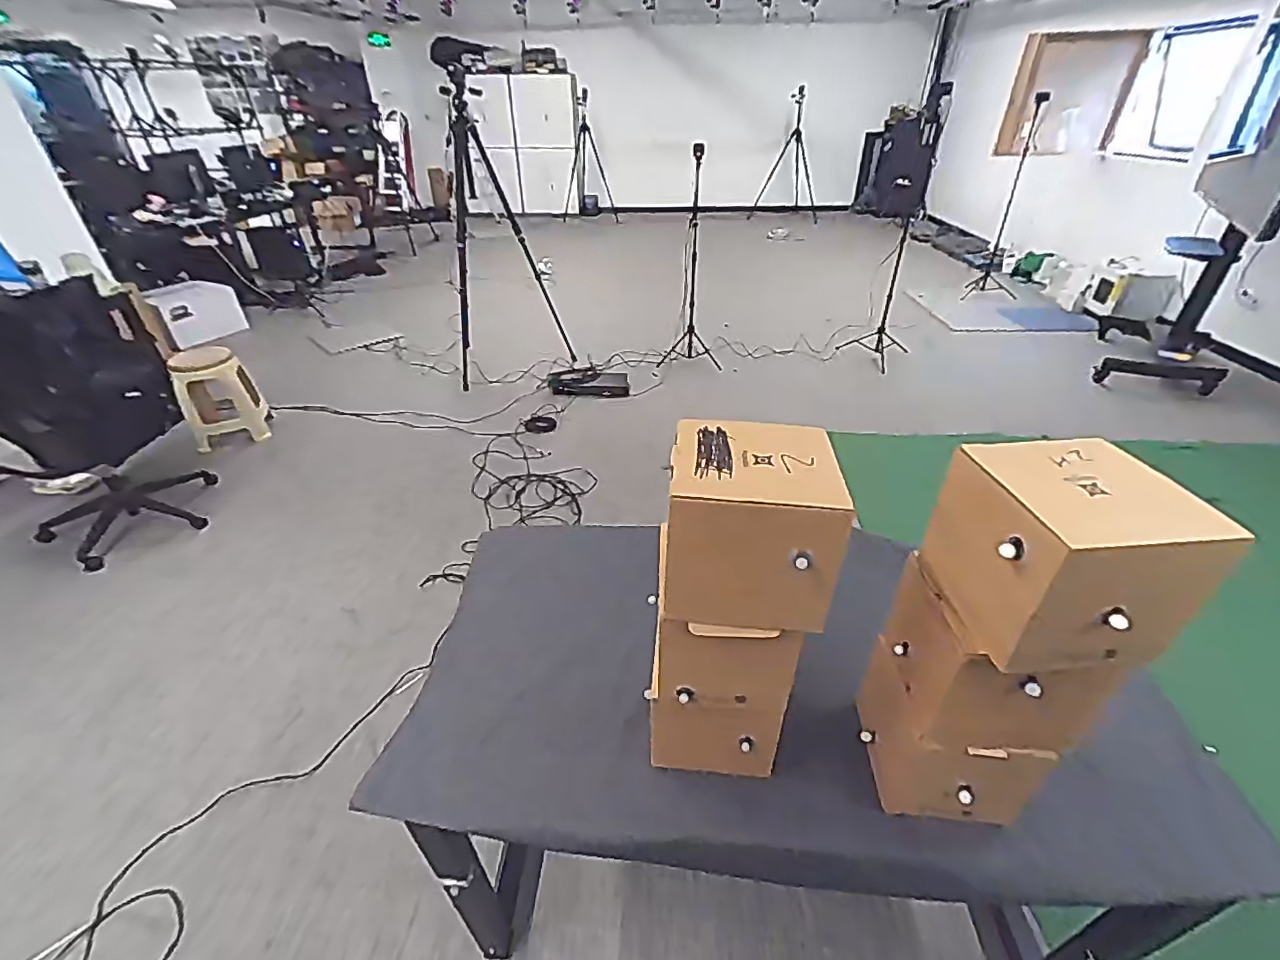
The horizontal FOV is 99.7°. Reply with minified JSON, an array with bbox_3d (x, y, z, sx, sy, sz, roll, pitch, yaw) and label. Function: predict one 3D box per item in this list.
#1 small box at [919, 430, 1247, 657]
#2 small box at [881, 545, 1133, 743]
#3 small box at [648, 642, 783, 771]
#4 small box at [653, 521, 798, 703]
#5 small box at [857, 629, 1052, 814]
[{"bbox_3d":[0.425,0.067,0.562,0.168,0.176,0.179,-4,34,-3],"label":"small box"},{"bbox_3d":[0.422,0.199,0.662,0.179,0.176,0.168,1,34,5],"label":"small box"},{"bbox_3d":[0.106,0.309,0.805,0.179,0.176,0.168,1,33,6],"label":"small box"},{"bbox_3d":[0.102,0.172,0.715,0.168,0.176,0.179,1,33,2],"label":"small box"},{"bbox_3d":[0.416,0.334,0.753,0.168,0.176,0.179,2,35,6],"label":"small box"}]
